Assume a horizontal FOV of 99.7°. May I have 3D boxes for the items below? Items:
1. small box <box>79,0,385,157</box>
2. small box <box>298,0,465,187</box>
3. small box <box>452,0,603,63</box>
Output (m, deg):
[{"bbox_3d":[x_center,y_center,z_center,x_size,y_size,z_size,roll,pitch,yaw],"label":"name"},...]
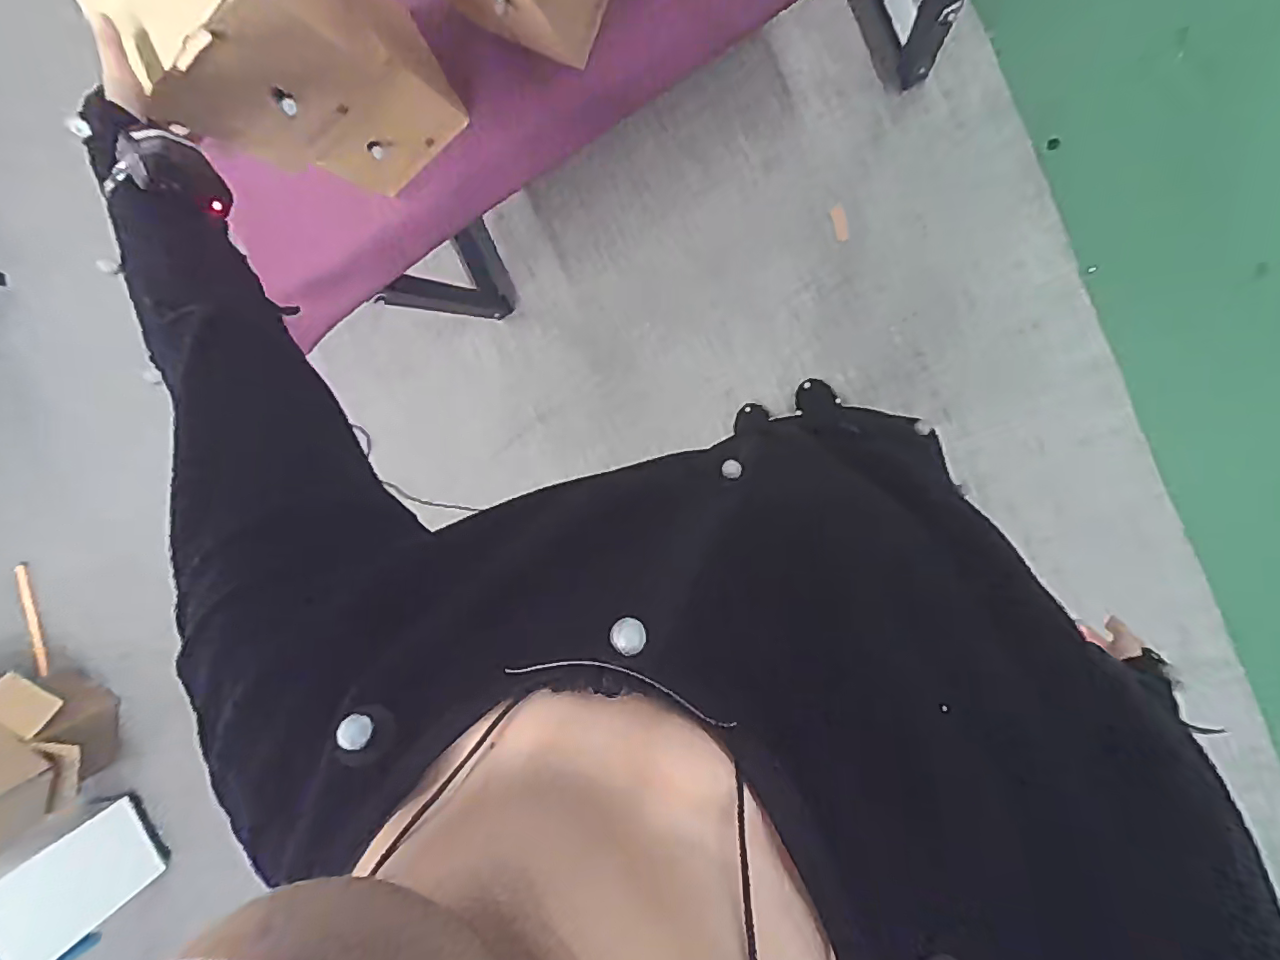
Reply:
[{"bbox_3d":[-0.395,-0.455,0.531,0.168,0.176,0.179,-27,93,18],"label":"small box"},{"bbox_3d":[-0.358,-0.504,0.684,0.168,0.176,0.179,-31,91,19],"label":"small box"},{"bbox_3d":[-0.133,-0.610,0.598,0.179,0.176,0.168,29,107,8],"label":"small box"}]
